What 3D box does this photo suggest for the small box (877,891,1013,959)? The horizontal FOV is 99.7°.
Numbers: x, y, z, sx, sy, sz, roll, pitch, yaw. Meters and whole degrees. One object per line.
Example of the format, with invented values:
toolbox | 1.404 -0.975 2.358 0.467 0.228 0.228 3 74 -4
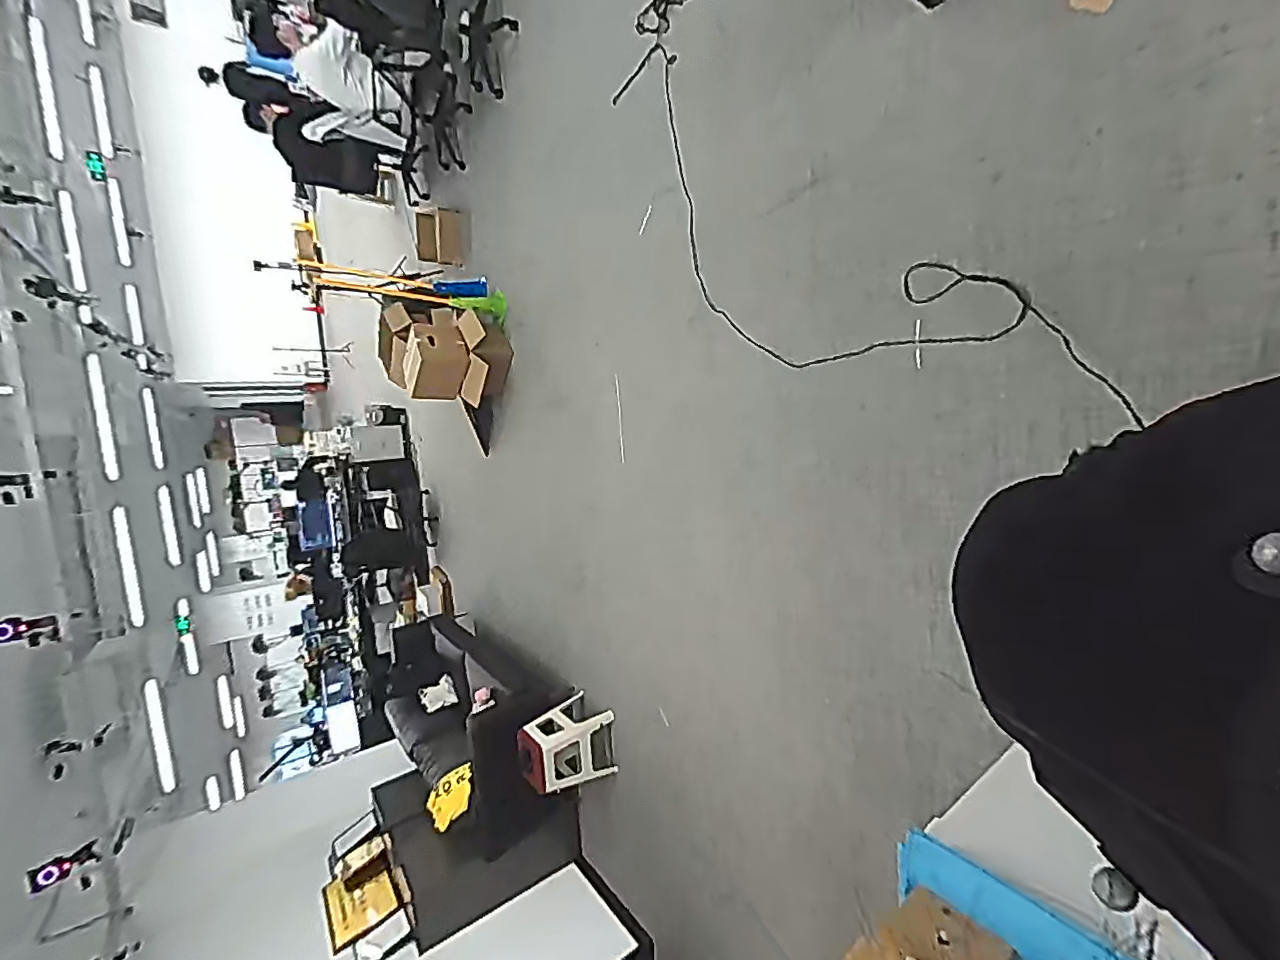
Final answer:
small box | 0.531 0.880 0.940 0.168 0.176 0.179 8 104 53
